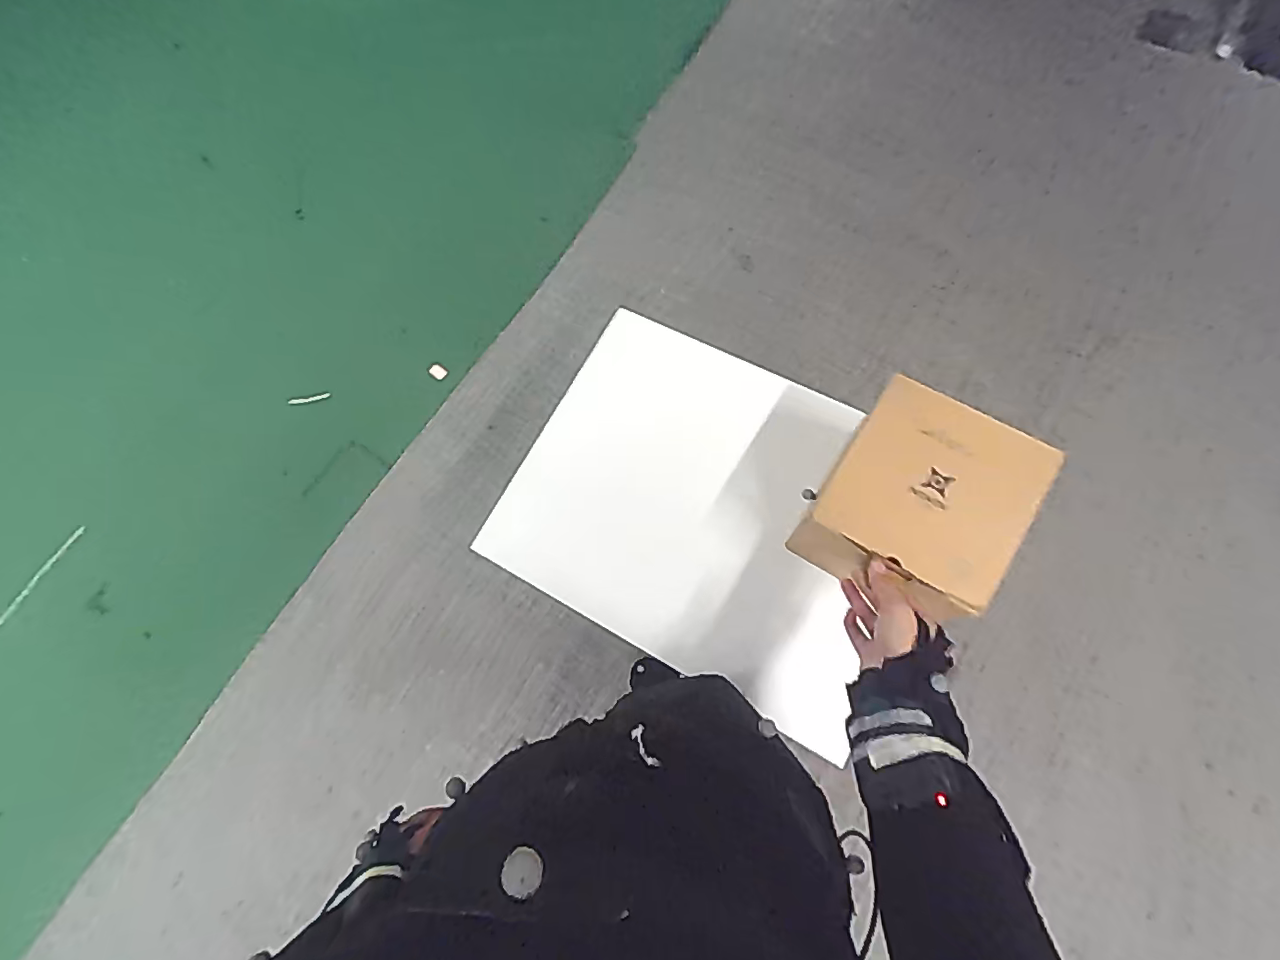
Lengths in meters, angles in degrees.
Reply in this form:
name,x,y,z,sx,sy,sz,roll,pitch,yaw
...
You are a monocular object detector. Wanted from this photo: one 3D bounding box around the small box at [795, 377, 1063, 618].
name,x,y,z,sx,sy,sz,roll,pitch,yaw
small box,0.281,0.031,0.573,0.168,0.176,0.179,32,79,14
